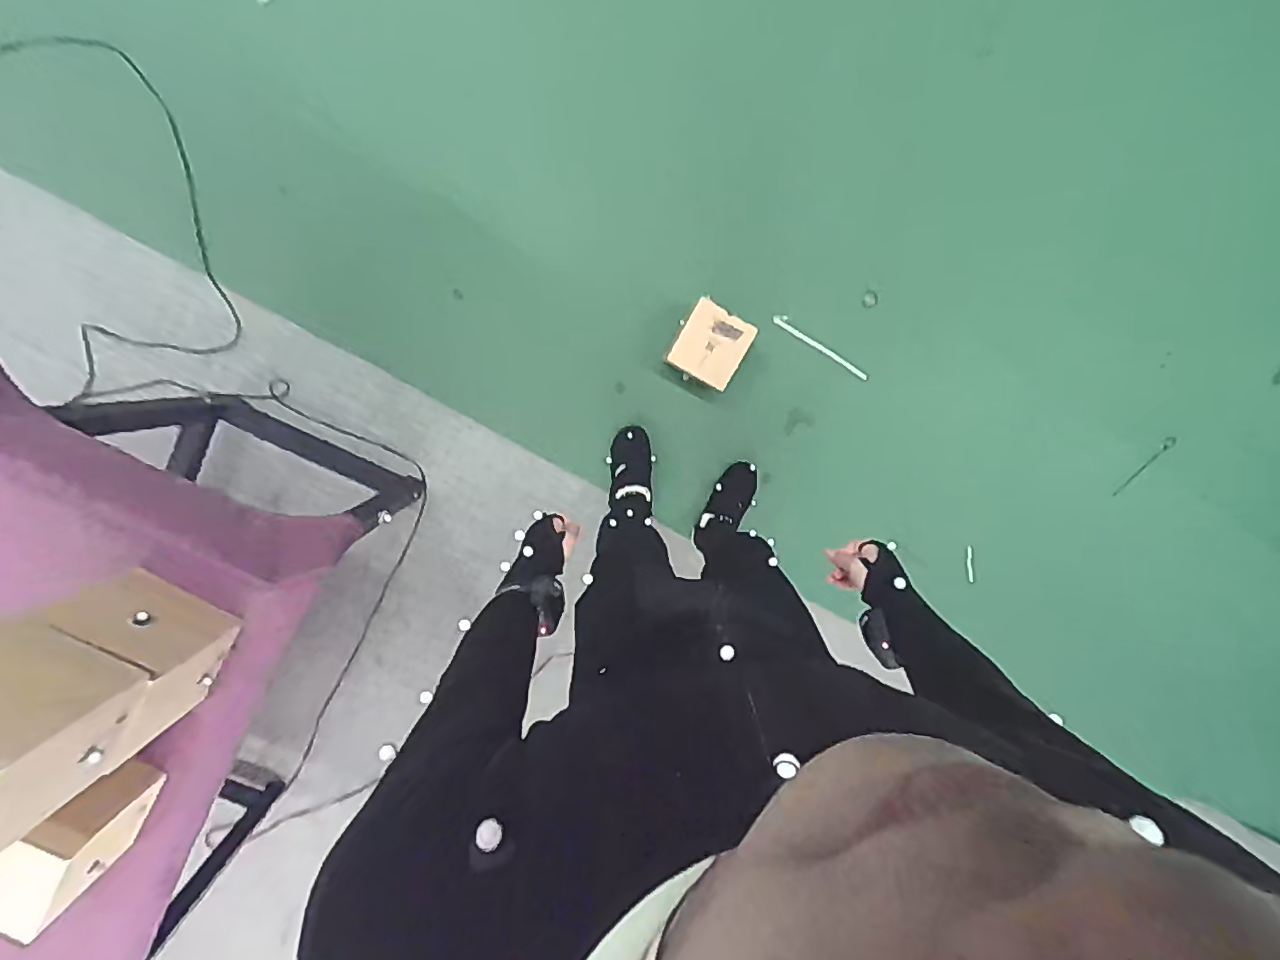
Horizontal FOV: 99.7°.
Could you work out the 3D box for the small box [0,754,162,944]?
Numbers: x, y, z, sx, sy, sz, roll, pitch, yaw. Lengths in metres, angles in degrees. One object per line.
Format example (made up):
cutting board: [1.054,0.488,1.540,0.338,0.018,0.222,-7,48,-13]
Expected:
small box: [-0.891,0.527,0.816,0.179,0.176,0.168,31,99,-6]

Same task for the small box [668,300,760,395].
small box: [0.182,-0.340,1.407,0.168,0.176,0.179,29,100,-6]

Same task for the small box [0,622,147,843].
small box: [-0.723,0.283,0.598,0.179,0.176,0.168,30,101,-7]
